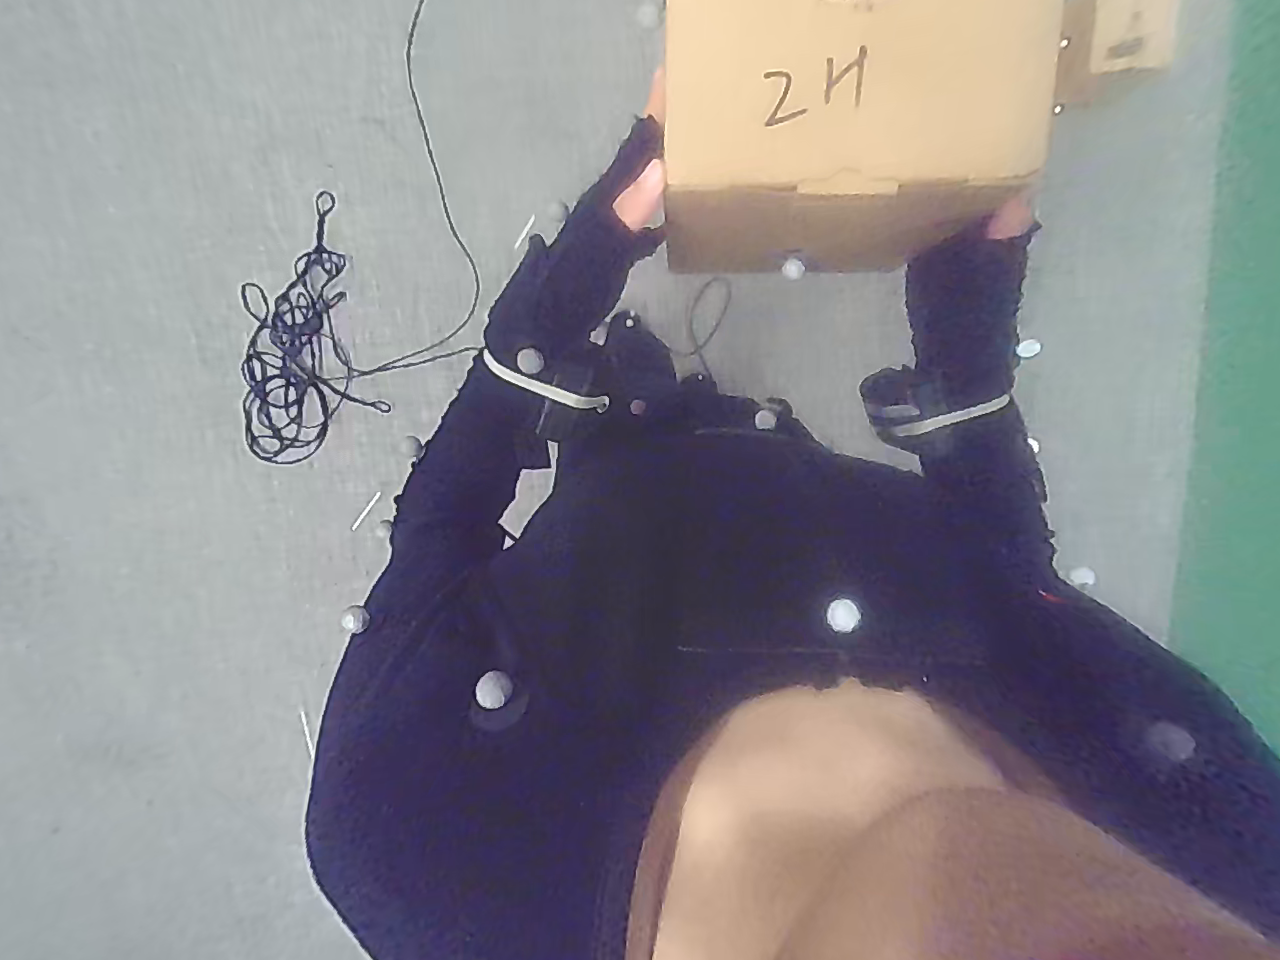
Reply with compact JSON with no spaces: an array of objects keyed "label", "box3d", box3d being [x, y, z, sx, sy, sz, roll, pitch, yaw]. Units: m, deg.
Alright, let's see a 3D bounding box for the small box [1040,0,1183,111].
[{"label":"small box","box3d":[1.009,-0.930,1.172,0.168,0.176,0.179,-2,99,3]}]
